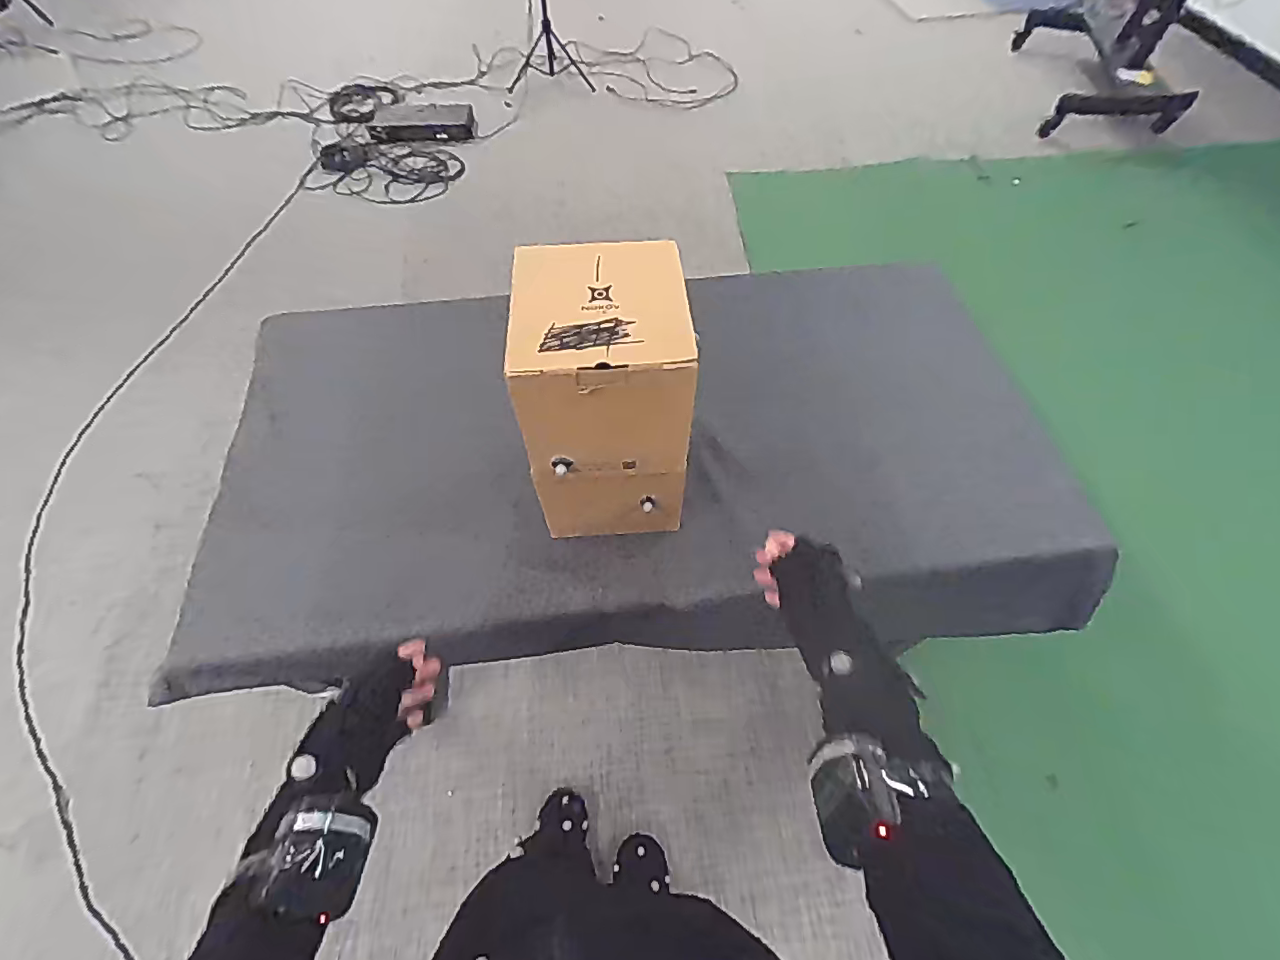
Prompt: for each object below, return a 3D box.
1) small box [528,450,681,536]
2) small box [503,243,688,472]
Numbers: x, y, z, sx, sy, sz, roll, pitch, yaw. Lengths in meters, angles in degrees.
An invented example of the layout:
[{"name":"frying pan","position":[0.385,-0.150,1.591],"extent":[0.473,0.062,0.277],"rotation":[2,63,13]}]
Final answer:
[{"name":"small box","position":[-0.045,-0.037,0.718],"extent":[0.179,0.176,0.168],"rotation":[-4,57,-2]},{"name":"small box","position":[-0.046,-0.120,0.576],"extent":[0.168,0.176,0.179],"rotation":[-6,59,-4]}]
